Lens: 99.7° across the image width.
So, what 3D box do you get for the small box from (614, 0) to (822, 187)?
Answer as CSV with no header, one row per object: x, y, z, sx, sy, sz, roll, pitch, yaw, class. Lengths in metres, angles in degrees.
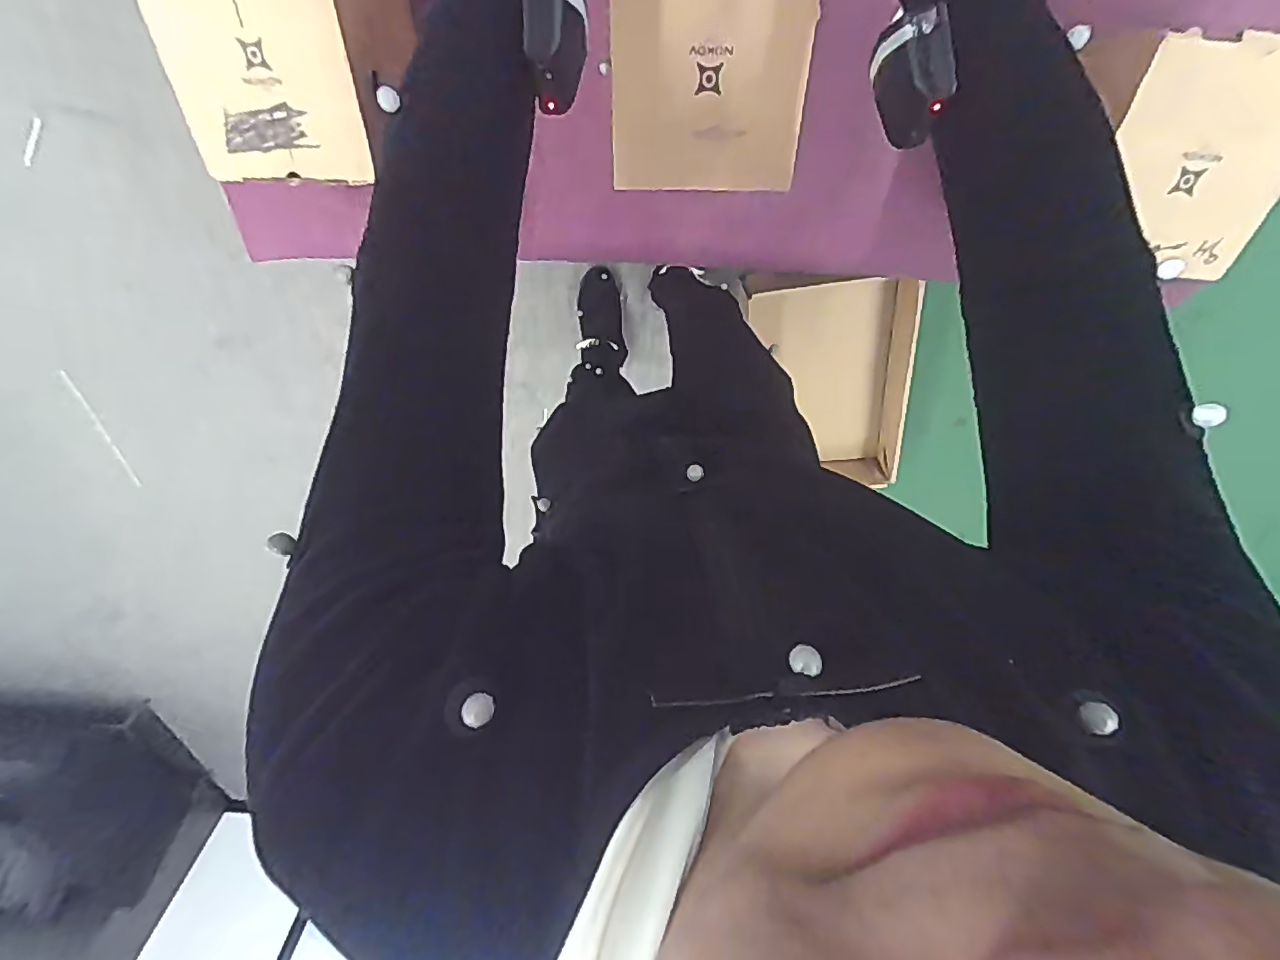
0.064,-0.389,0.512,0.168,0.176,0.179,3,126,3,small box

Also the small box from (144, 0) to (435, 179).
-0.319,-0.405,0.526,0.168,0.176,0.179,2,125,2,small box
